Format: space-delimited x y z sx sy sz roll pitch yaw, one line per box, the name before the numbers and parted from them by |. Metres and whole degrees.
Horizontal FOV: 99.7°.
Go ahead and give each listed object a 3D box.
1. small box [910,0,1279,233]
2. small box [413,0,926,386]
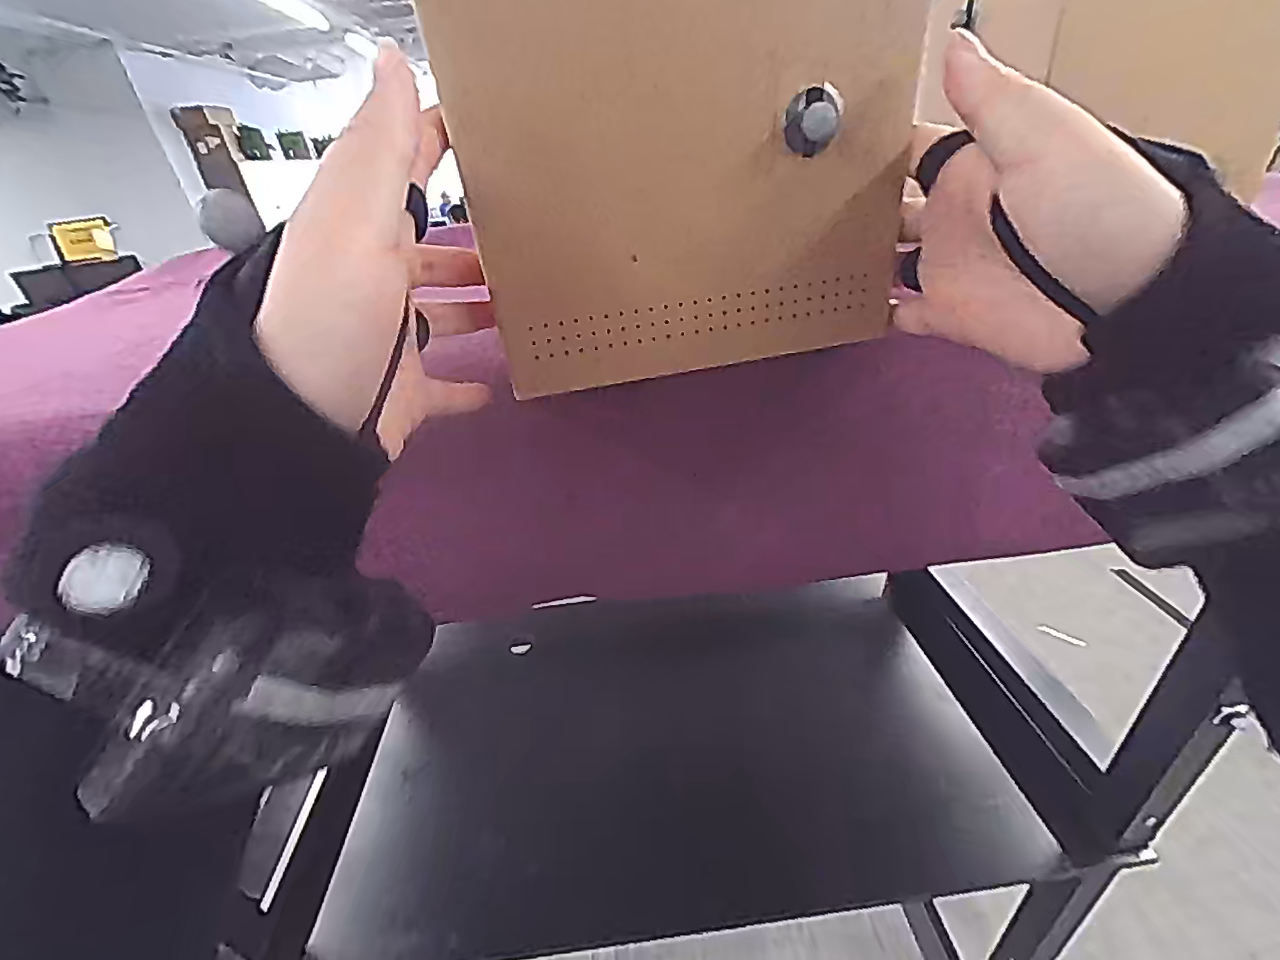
small box | 0.337 -0.297 0.414 0.179 0.176 0.168 -7 30 0
small box | 0.009 -0.162 0.264 0.179 0.176 0.168 -11 32 -4
